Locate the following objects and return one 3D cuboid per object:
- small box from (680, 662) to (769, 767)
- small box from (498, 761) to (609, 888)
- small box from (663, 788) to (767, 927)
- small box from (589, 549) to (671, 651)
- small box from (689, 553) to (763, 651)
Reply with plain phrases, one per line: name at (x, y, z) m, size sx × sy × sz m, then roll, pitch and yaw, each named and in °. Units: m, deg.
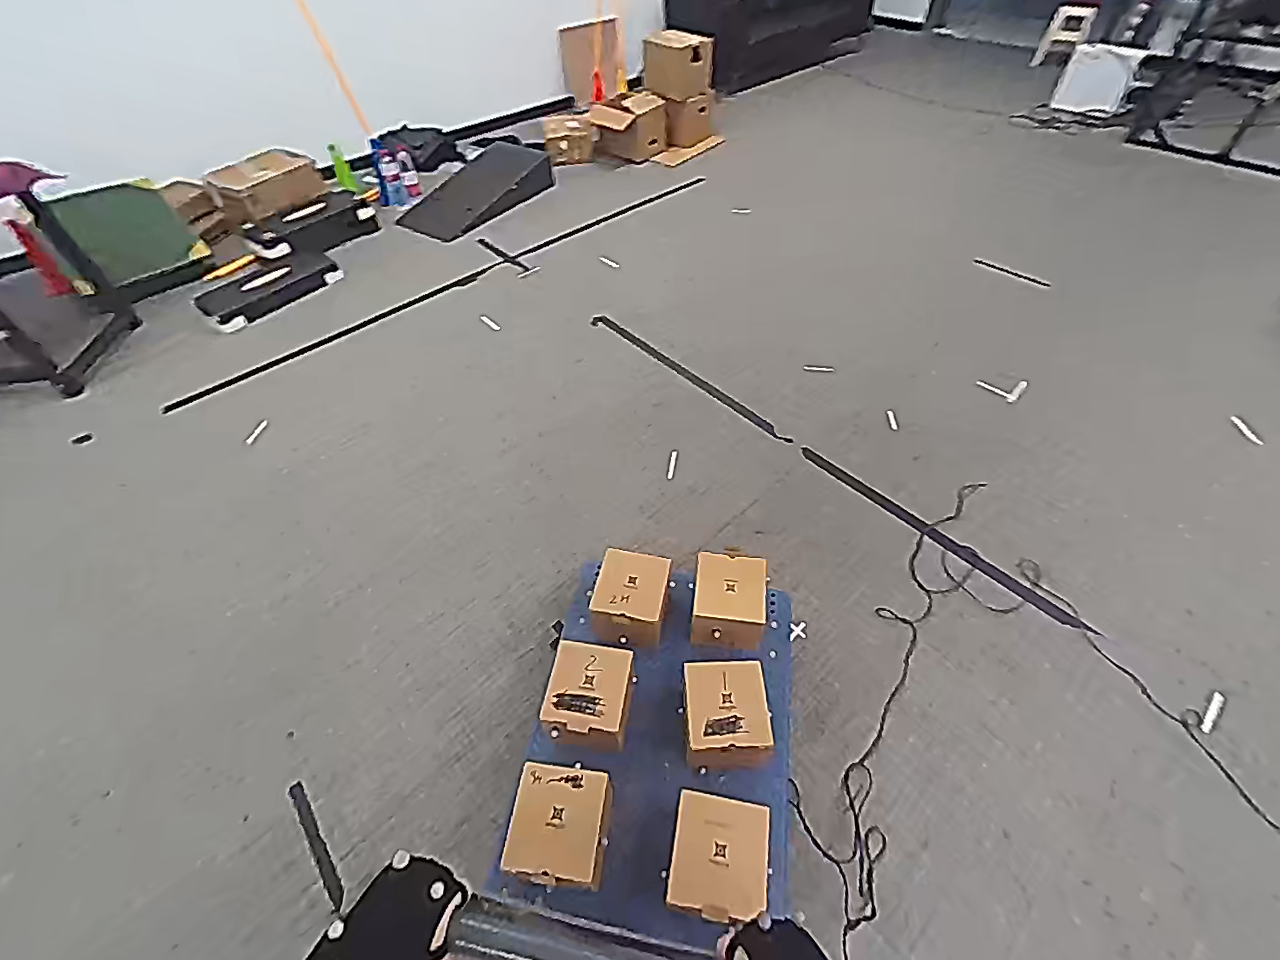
small box at (0.175, 0.513, 1.175) m, size 0.168 × 0.176 × 0.179 m, roll -1°, pitch 49°, yaw 0°
small box at (-0.155, 0.670, 1.048) m, size 0.168 × 0.176 × 0.179 m, roll 6°, pitch 50°, yaw 5°
small box at (0.139, 0.708, 1.010) m, size 0.168 × 0.176 × 0.179 m, roll 9°, pitch 49°, yaw 8°
small box at (-0.022, 0.302, 1.358) m, size 0.168 × 0.176 × 0.179 m, roll 9°, pitch 51°, yaw 9°
small box at (0.212, 0.308, 1.351) m, size 0.168 × 0.176 × 0.179 m, roll 6°, pitch 50°, yaw 6°
